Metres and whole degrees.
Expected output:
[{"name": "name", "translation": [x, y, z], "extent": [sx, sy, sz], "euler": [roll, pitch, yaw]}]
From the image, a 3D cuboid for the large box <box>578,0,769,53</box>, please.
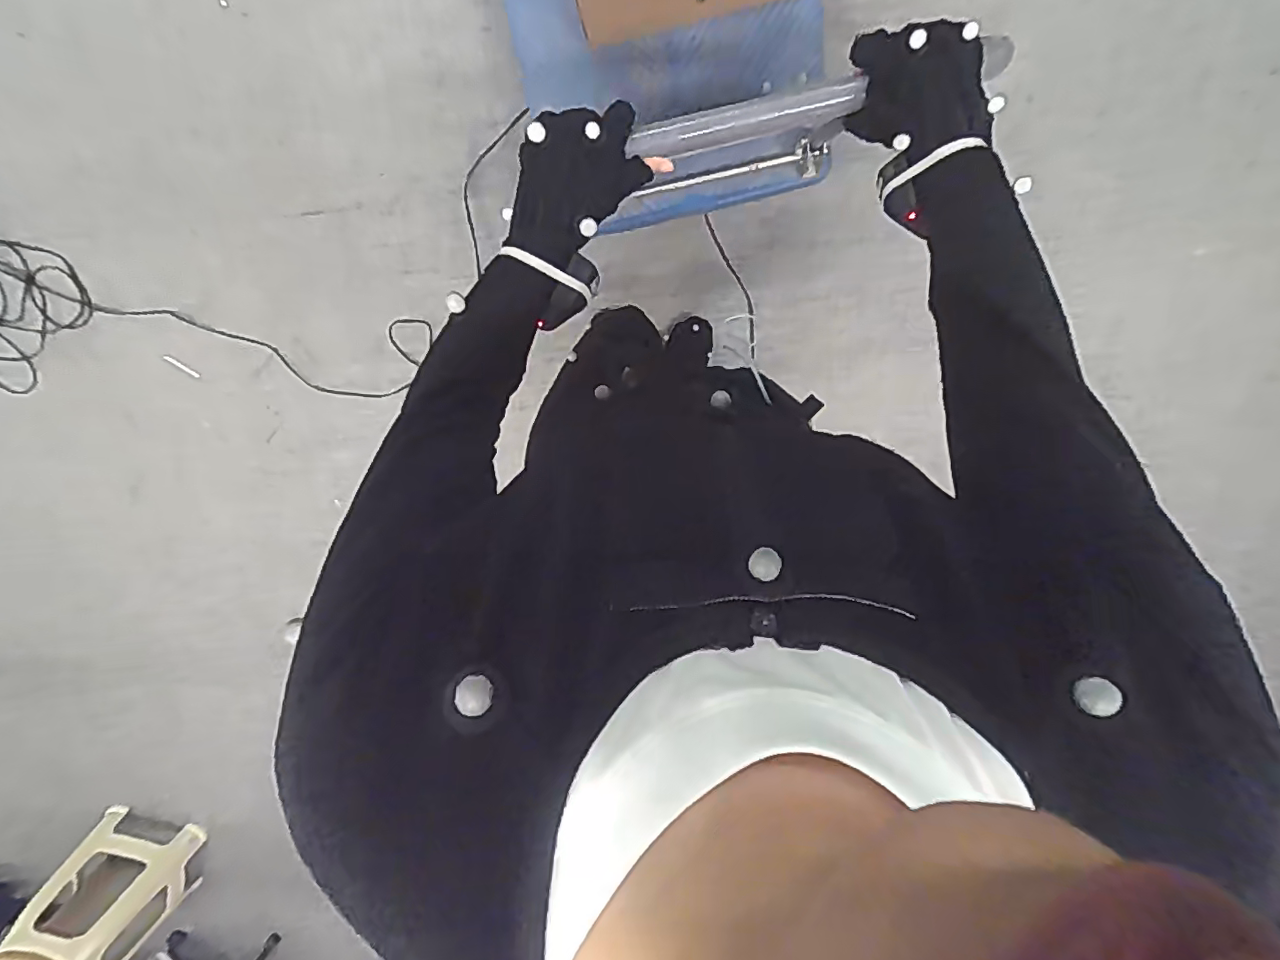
[{"name": "large box", "translation": [0.065, -0.961, 0.849], "extent": [0.408, 0.320, 0.320], "euler": [-12, 108, 7]}]
